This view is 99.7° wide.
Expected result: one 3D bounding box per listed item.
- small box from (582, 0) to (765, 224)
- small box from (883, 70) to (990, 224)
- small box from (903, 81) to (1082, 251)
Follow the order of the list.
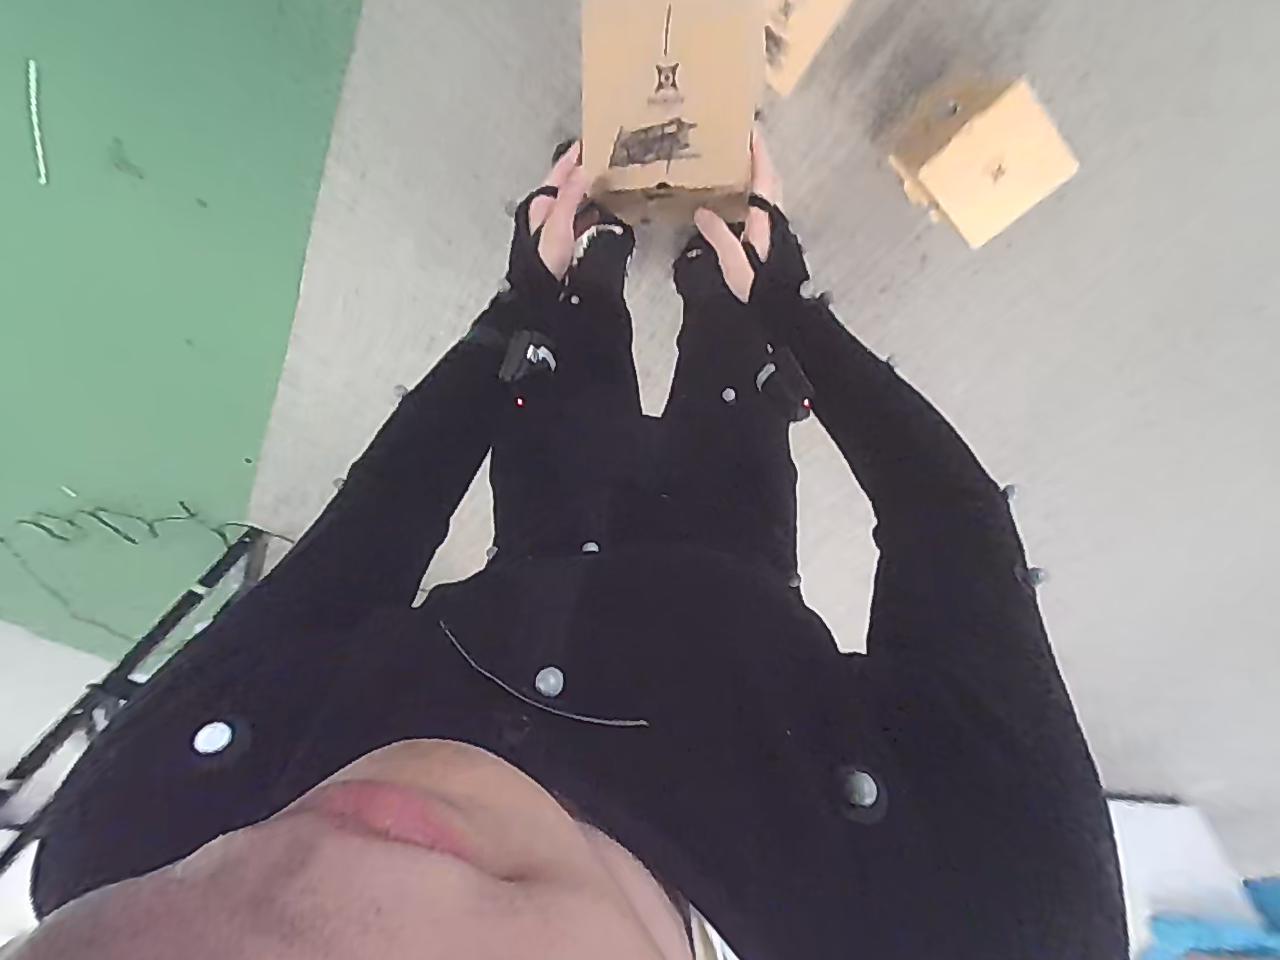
[{"bbox_3d":[0.044,-0.381,0.583,0.168,0.176,0.179,4,106,14],"label":"small box"},{"bbox_3d":[0.588,-0.633,1.029,0.168,0.176,0.179,38,128,-20],"label":"small box"},{"bbox_3d":[0.576,-0.529,0.904,0.179,0.176,0.168,37,127,-18],"label":"small box"}]
